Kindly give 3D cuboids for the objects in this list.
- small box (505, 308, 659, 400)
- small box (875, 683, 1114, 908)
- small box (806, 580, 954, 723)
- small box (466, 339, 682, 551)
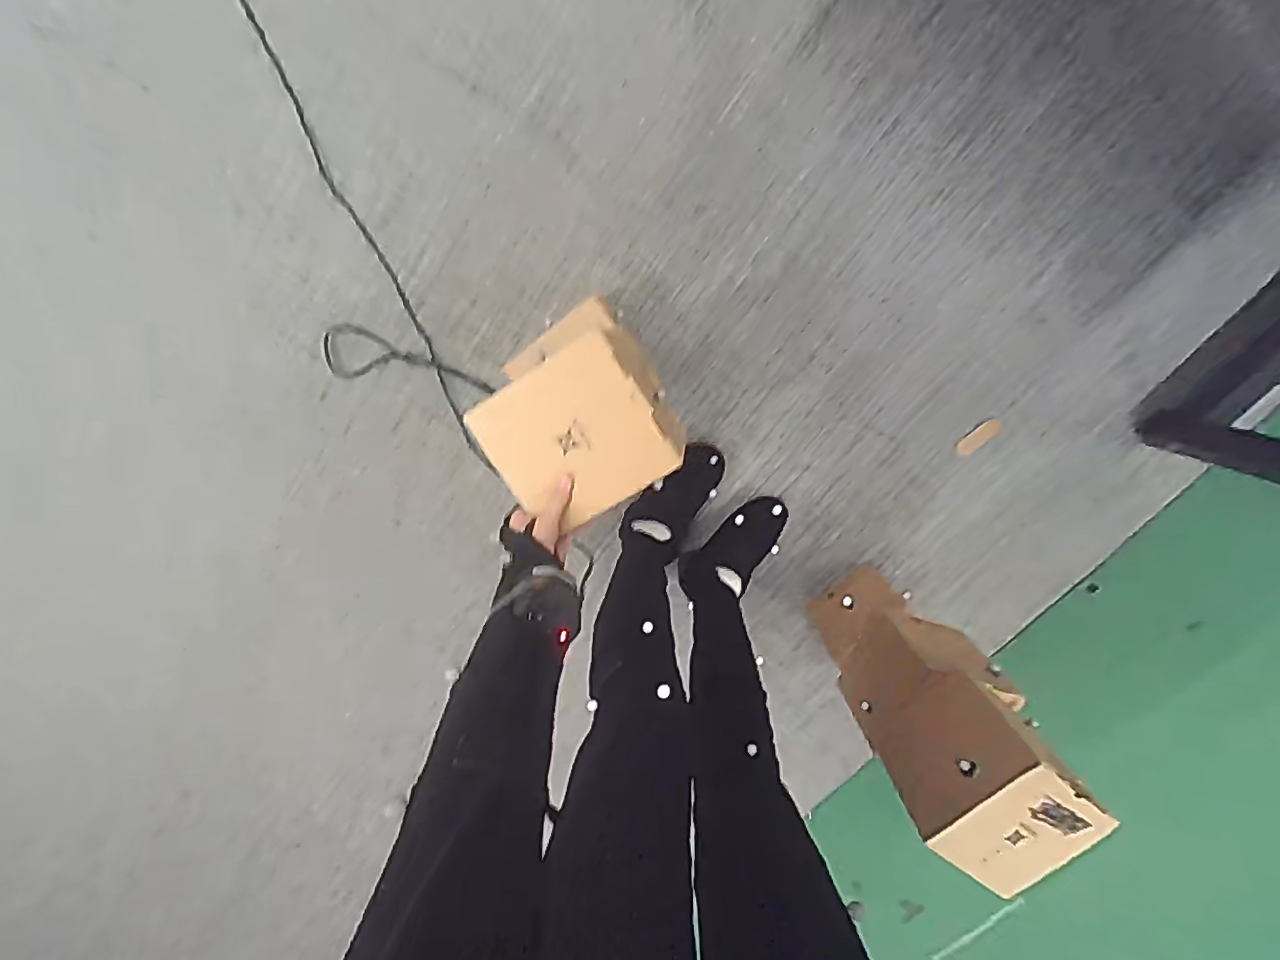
[{"bbox_3d":[-0.088,-0.164,0.884,0.179,0.176,0.168,-35,105,11],"label":"small box"},{"bbox_3d":[0.459,0.415,0.733,0.168,0.176,0.179,39,105,-13],"label":"small box"},{"bbox_3d":[0.452,0.318,1.048,0.168,0.176,0.179,-40,103,12],"label":"small box"},{"bbox_3d":[-0.062,-0.046,0.640,0.179,0.176,0.168,-31,97,11],"label":"small box"}]
